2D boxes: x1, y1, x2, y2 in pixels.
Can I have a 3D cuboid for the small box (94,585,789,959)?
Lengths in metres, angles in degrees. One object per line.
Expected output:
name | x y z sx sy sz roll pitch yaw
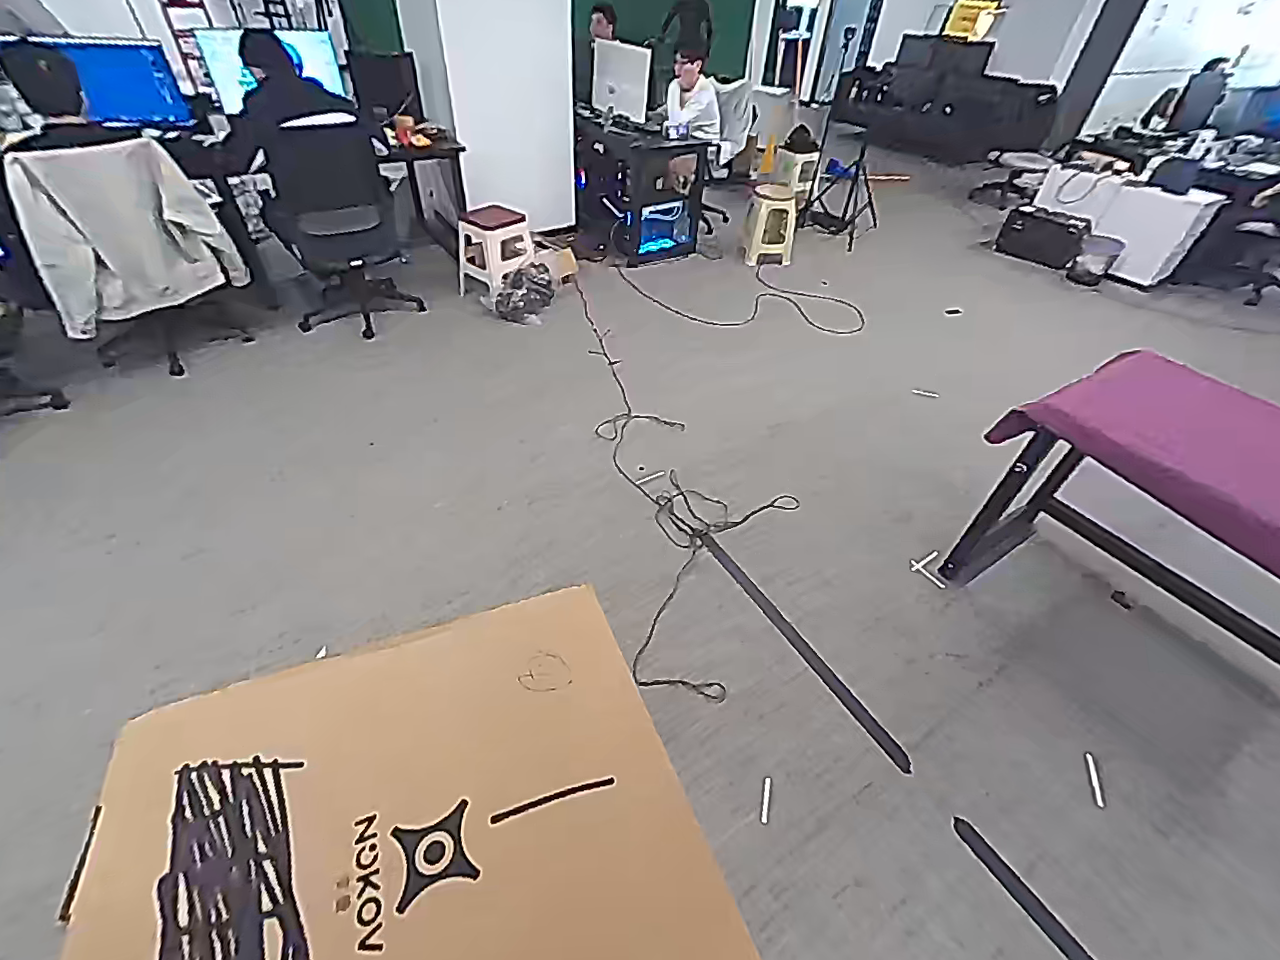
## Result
small box | -0.066 0.177 0.215 0.179 0.176 0.168 -13 42 -20
